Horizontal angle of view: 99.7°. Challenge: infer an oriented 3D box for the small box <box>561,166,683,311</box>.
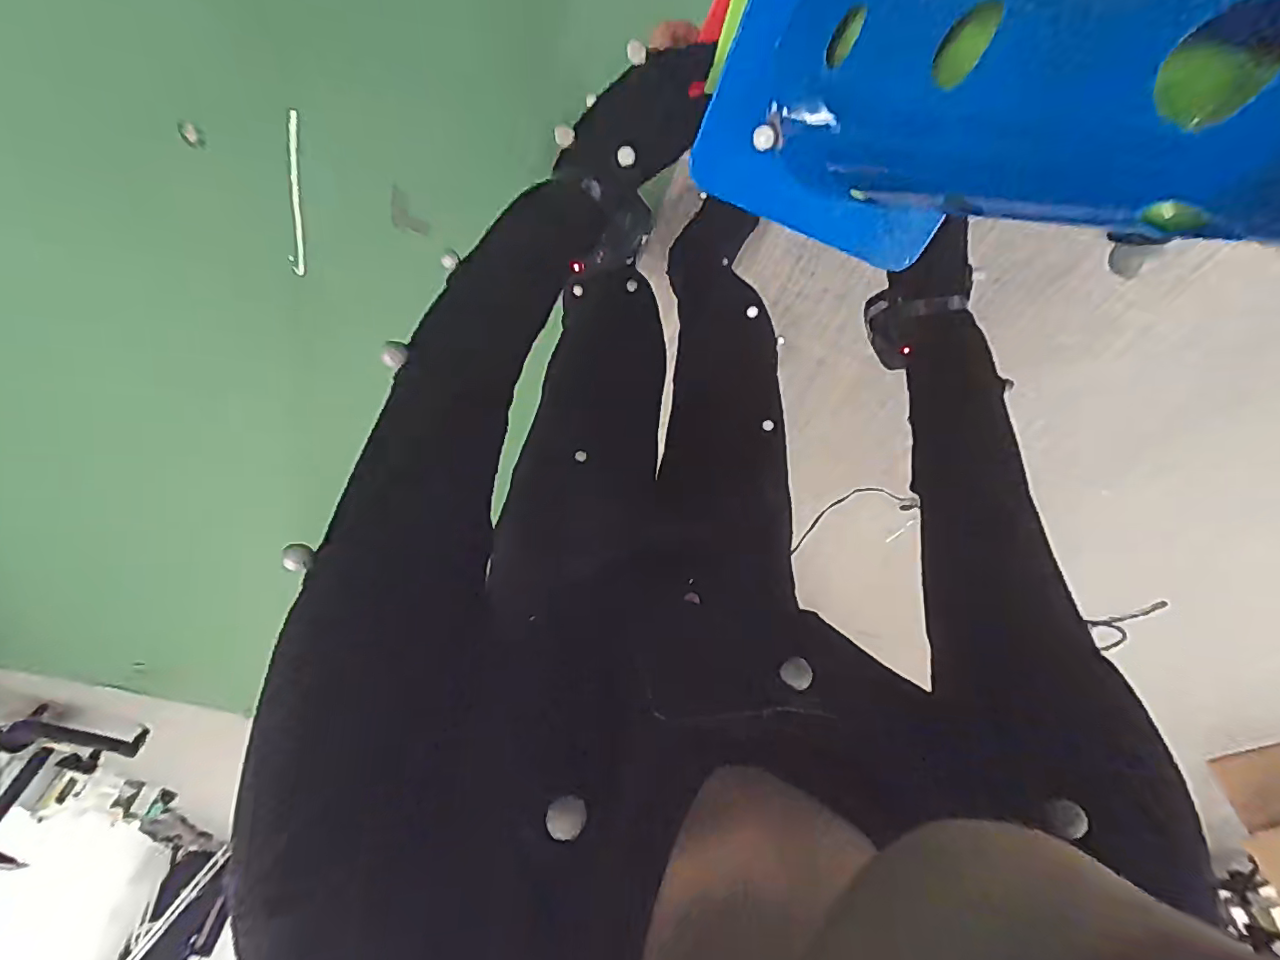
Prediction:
[{"bbox_3d":[-0.043,-0.438,0.989,0.168,0.176,0.179,-2,139,-21],"label":"small box"}]
